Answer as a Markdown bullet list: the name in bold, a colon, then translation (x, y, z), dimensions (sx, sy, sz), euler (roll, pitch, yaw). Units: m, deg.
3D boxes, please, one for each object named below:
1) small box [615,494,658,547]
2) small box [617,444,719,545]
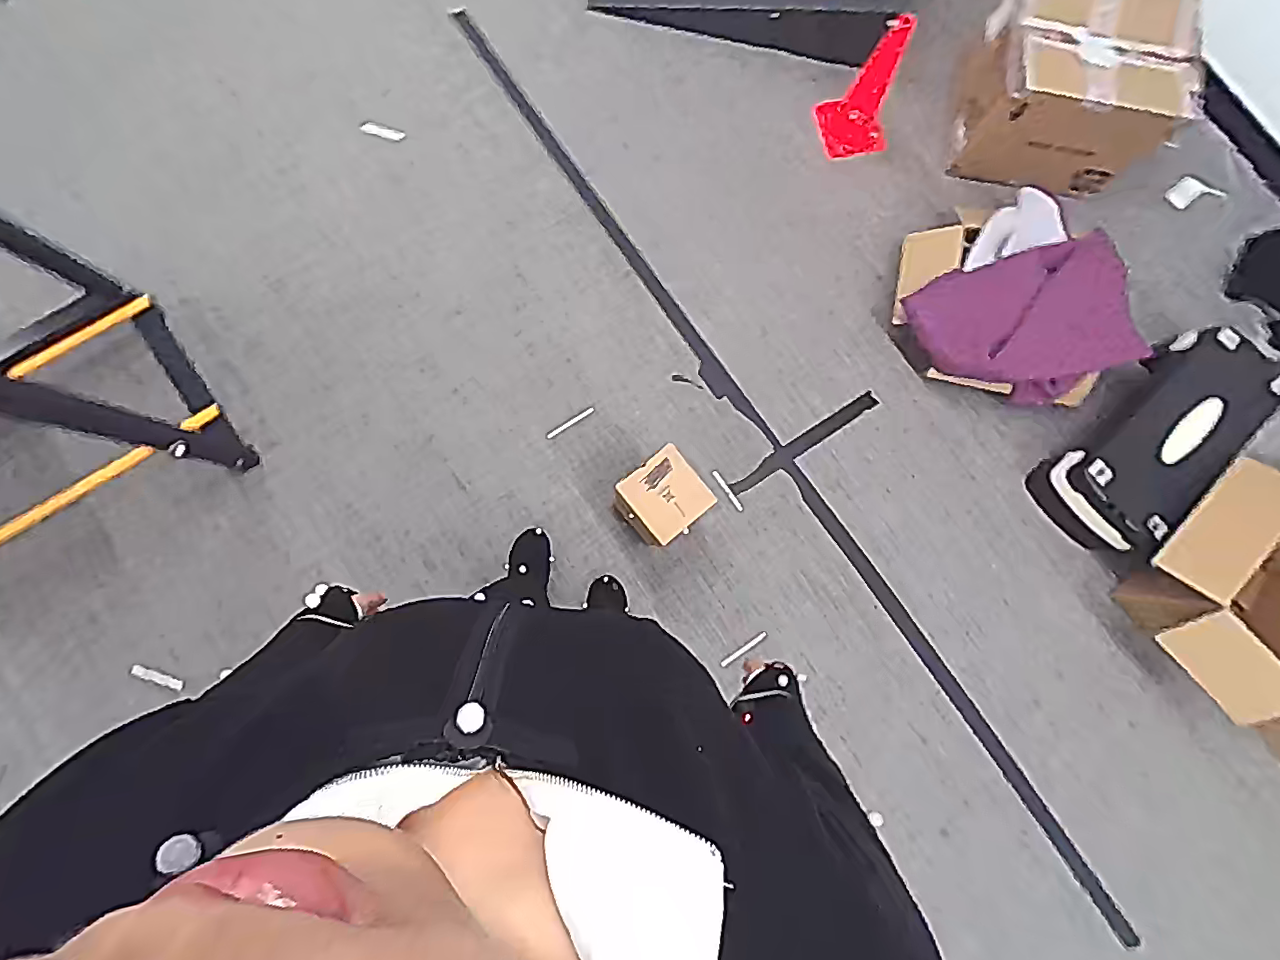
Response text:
- **small box**: translation (0.046, 0.063, 1.455), dimensions (0.179, 0.176, 0.168), euler (-41, 85, -6)
- **small box**: translation (0.058, 0.043, 1.292), dimensions (0.168, 0.176, 0.179), euler (-38, 85, -7)
